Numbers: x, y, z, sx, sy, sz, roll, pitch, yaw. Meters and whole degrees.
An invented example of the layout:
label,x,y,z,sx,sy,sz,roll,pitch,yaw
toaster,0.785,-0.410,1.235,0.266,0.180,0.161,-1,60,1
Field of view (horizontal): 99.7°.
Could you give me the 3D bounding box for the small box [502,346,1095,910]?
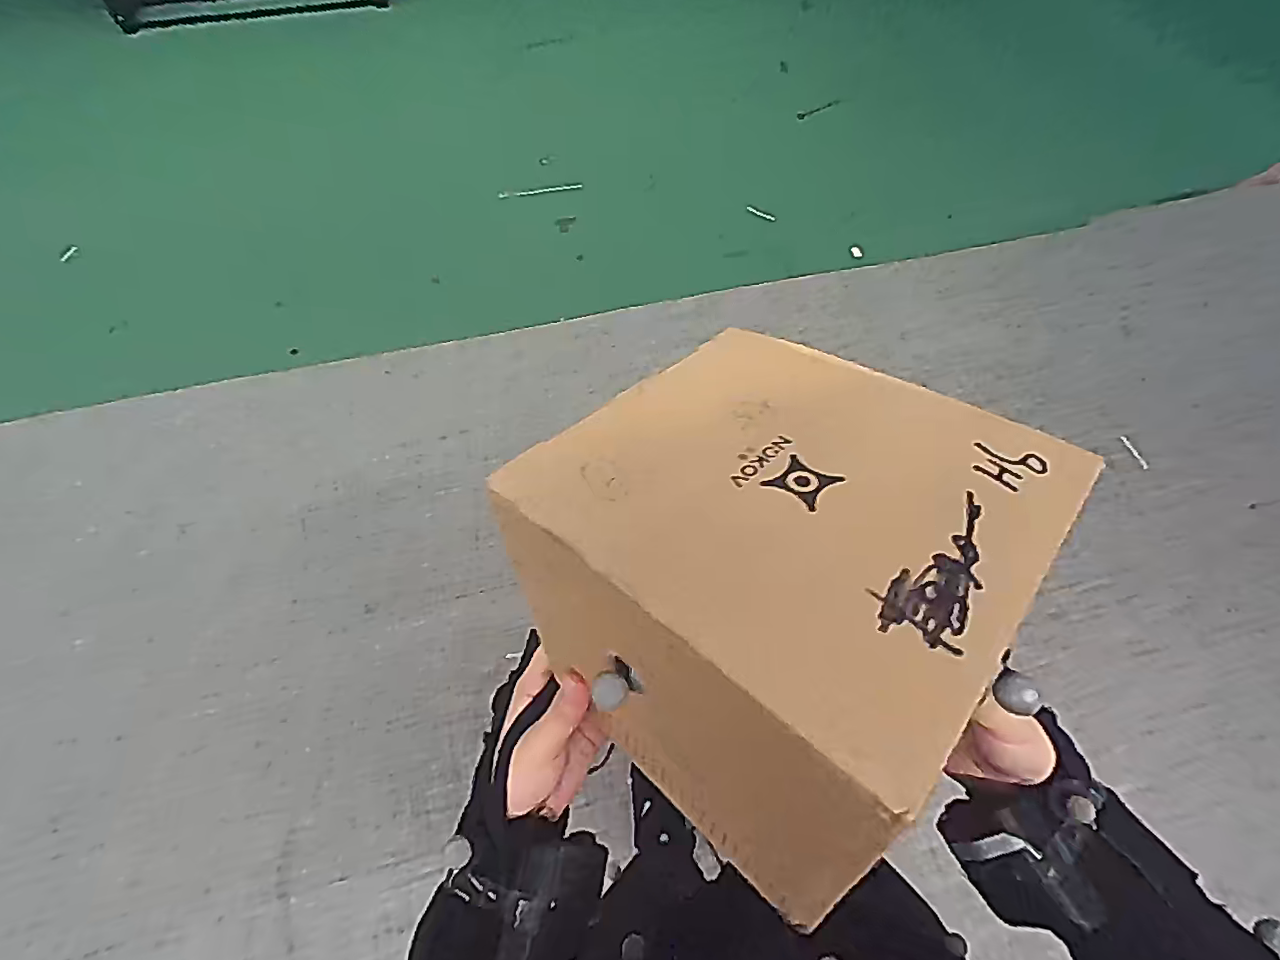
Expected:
label,x,y,z,sx,sy,sz,roll,pitch,yaw
small box,0.064,0.063,0.269,0.179,0.176,0.168,31,55,33
